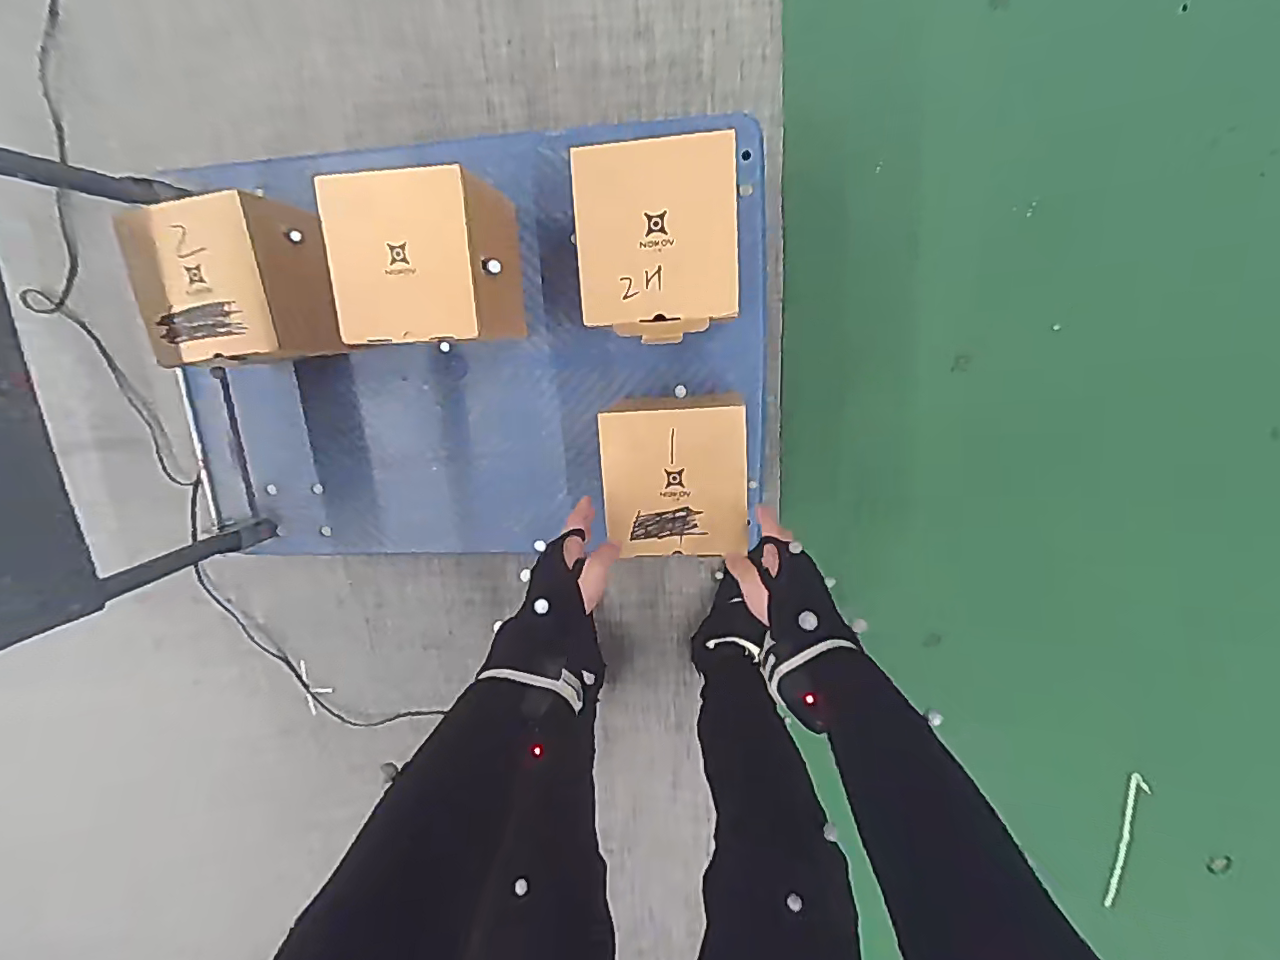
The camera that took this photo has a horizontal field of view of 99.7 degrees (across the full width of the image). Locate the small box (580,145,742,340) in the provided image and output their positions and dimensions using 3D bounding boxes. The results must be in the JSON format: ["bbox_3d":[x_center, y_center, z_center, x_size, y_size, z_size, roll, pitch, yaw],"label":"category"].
[{"bbox_3d":[0.031,-0.260,0.634,0.168,0.176,0.179,-1,103,8],"label":"small box"}]

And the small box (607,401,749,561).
[{"bbox_3d":[0.055,-0.006,0.710,0.168,0.176,0.179,-2,102,7],"label":"small box"}]

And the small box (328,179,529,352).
[{"bbox_3d":[-0.246,-0.251,0.672,0.168,0.176,0.179,-1,105,7],"label":"small box"}]
